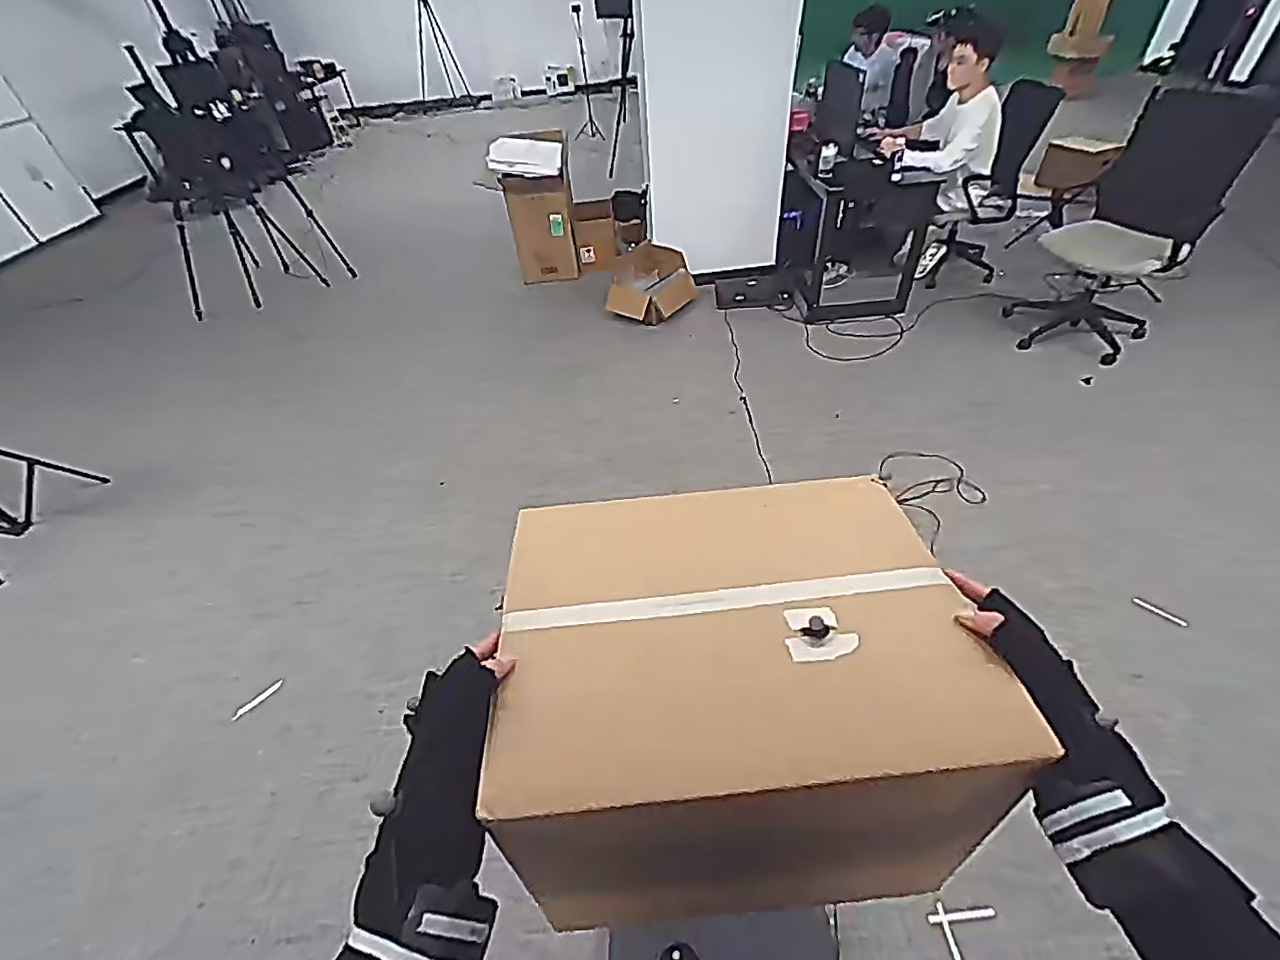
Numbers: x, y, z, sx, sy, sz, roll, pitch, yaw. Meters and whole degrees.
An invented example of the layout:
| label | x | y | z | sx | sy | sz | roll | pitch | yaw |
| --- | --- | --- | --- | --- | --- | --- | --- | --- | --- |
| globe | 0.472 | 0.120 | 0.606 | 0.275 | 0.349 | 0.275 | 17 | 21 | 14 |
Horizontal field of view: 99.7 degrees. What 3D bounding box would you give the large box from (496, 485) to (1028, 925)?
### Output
| label | x | y | z | sx | sy | sz | roll | pitch | yaw |
| --- | --- | --- | --- | --- | --- | --- | --- | --- | --- |
| large box | 0.087 | 0.237 | 0.598 | 0.408 | 0.320 | 0.320 | -6 | 39 | -1 |
